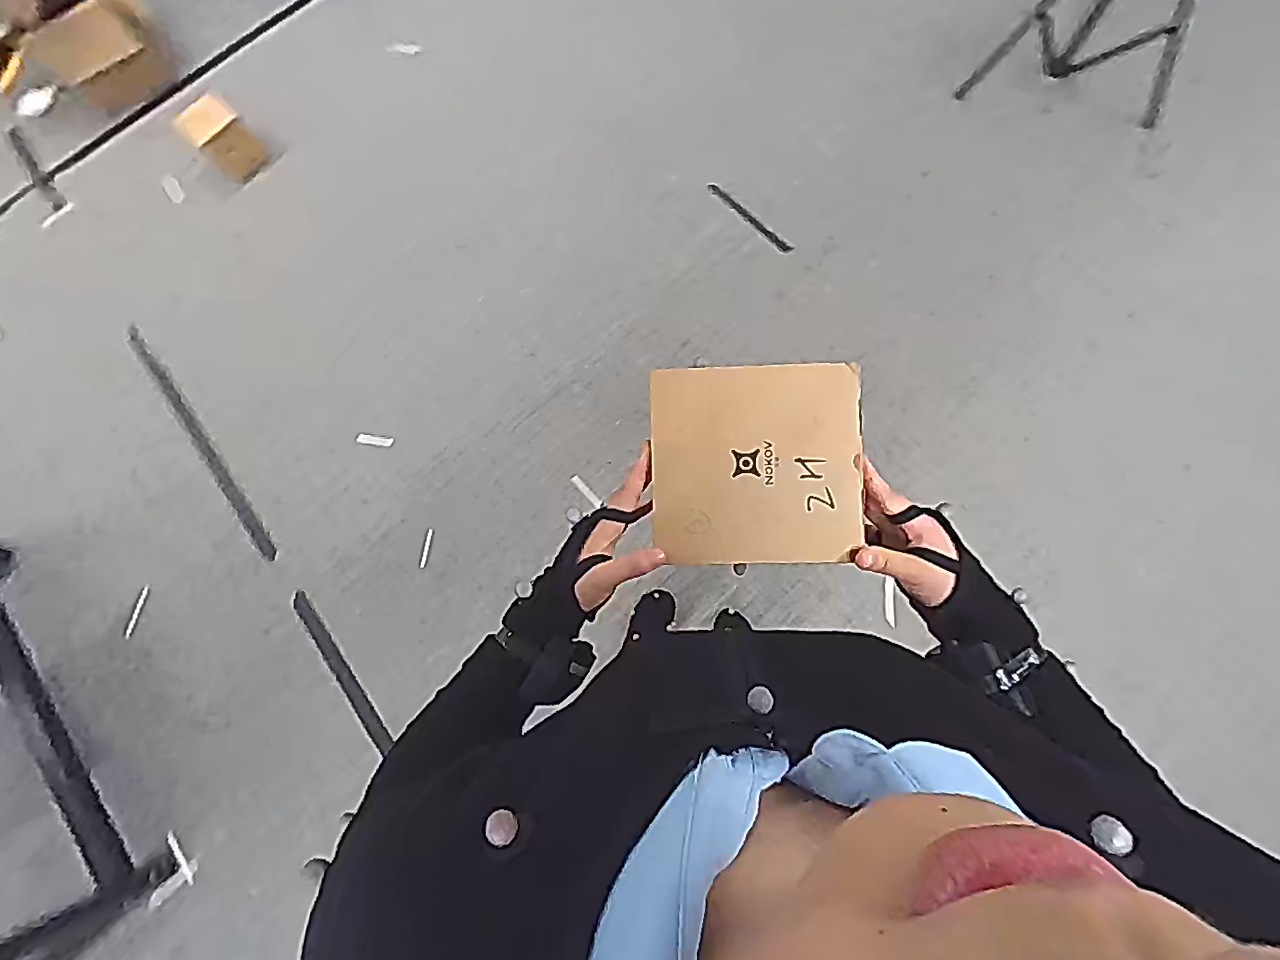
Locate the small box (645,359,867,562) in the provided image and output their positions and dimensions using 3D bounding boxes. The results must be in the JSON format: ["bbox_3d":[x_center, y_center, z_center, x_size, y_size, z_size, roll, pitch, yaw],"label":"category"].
[{"bbox_3d":[0.100,-0.015,0.522,0.179,0.176,0.168,-2,91,3],"label":"small box"}]

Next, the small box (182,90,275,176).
[{"bbox_3d":[-1.472,-1.238,1.947,0.179,0.176,0.168,42,83,13],"label":"small box"}]
